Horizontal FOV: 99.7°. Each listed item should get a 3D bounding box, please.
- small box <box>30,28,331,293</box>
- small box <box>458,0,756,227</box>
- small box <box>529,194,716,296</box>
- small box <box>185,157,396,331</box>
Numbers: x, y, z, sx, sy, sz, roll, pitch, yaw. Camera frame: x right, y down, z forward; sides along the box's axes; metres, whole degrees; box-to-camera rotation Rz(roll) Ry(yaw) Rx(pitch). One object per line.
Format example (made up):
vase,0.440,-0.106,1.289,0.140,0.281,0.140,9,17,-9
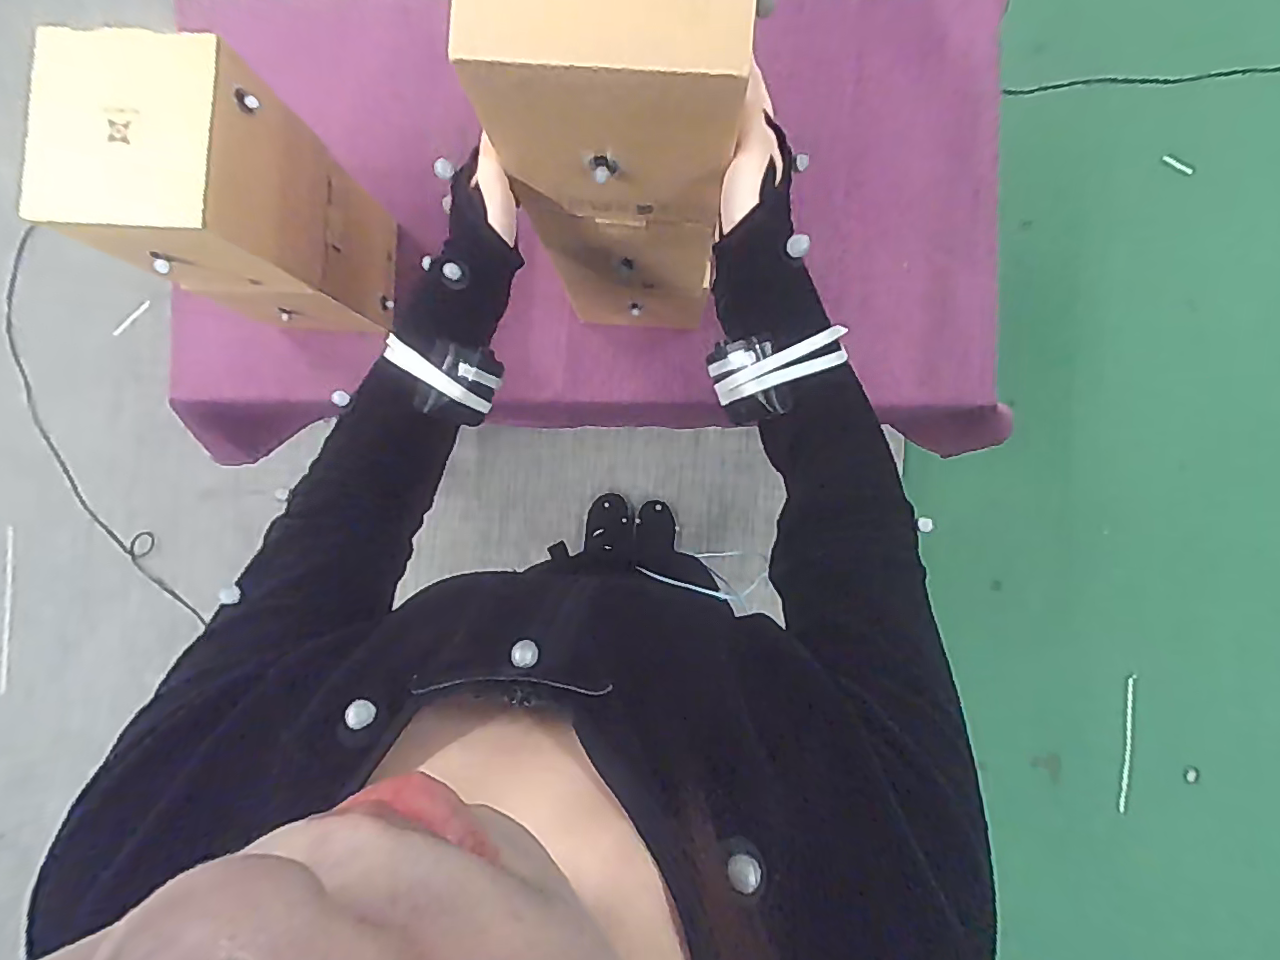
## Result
small box,-0.448,-0.307,0.555,0.168,0.176,0.179,4,88,1
small box,-0.009,-0.302,0.377,0.168,0.176,0.179,6,89,2
small box,-0.002,-0.301,0.543,0.168,0.176,0.179,7,90,2
small box,-0.446,-0.303,0.717,0.179,0.176,0.168,3,89,2
